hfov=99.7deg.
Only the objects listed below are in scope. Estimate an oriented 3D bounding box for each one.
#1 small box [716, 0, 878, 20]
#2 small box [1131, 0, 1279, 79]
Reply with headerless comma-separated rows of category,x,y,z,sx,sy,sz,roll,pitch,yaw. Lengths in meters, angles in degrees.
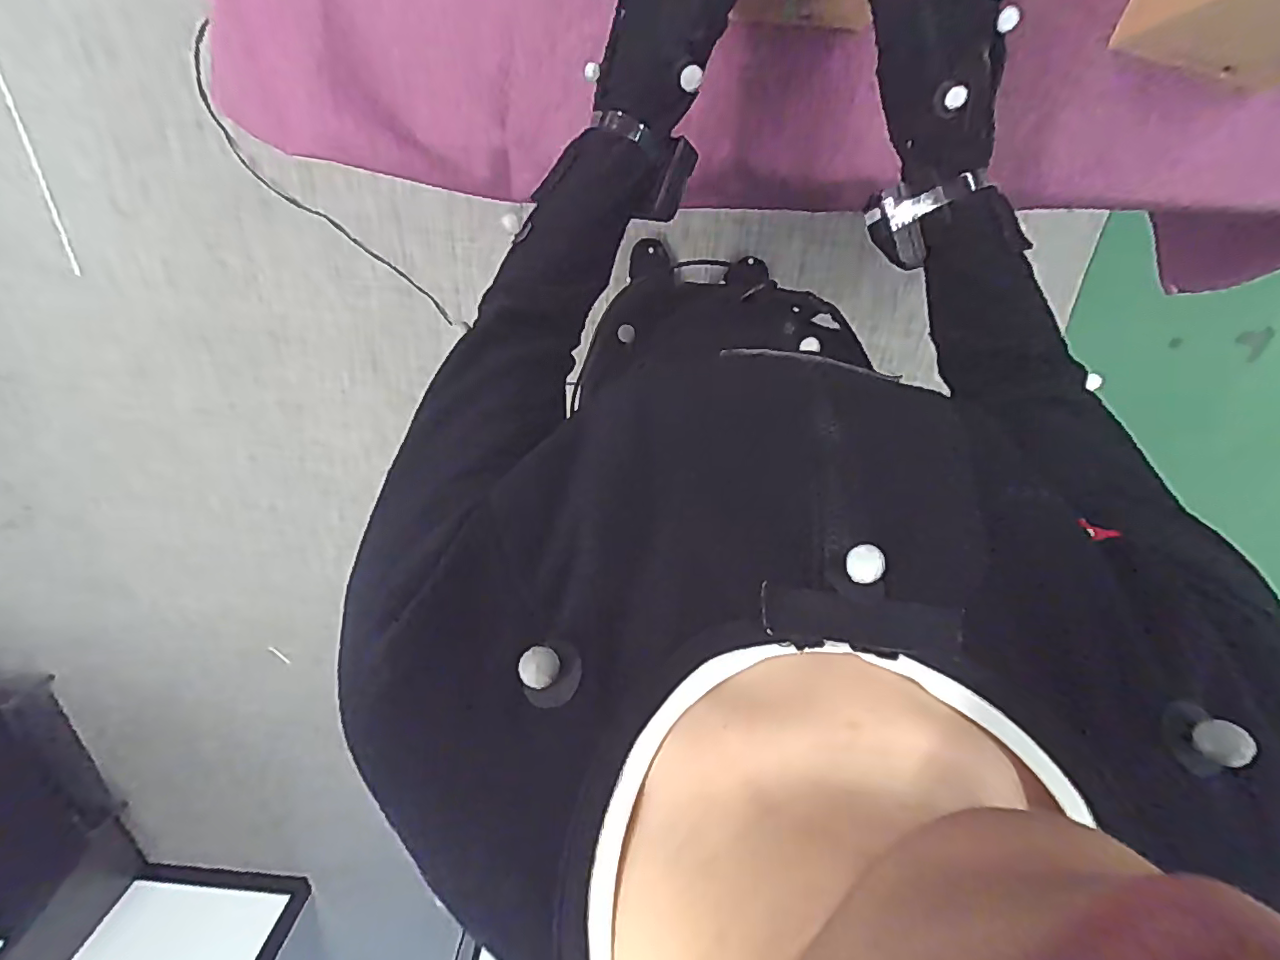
small box,0.138,-0.490,0.415,0.168,0.176,0.179,6,115,1
small box,0.541,-0.439,0.409,0.168,0.176,0.179,14,116,-2
